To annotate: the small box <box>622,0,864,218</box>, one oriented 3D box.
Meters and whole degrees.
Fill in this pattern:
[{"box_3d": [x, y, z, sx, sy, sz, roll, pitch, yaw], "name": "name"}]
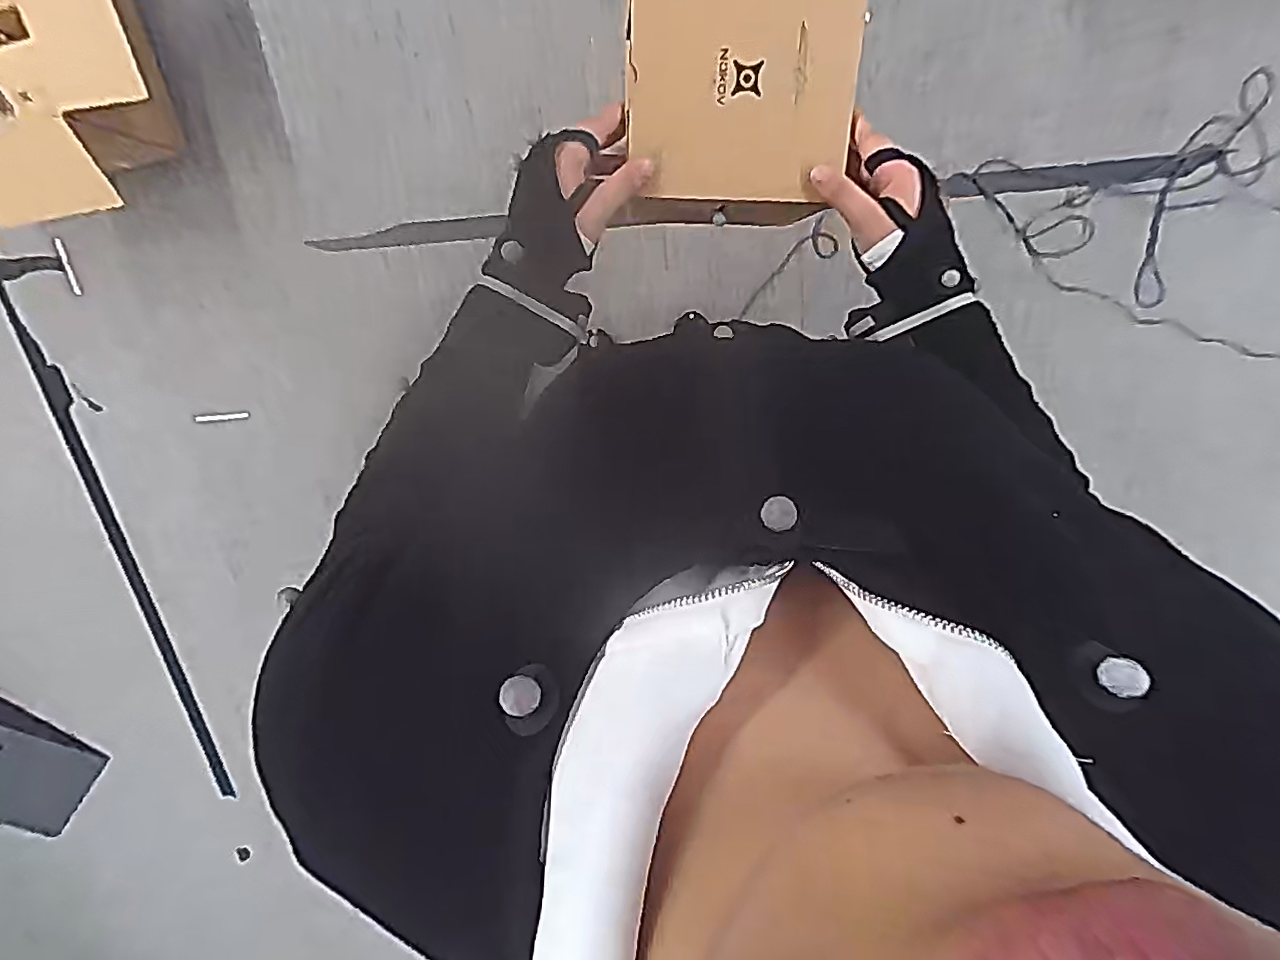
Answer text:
[{"box_3d": [0.074, -0.333, 0.480, 0.179, 0.176, 0.168, 0, 110, -1], "name": "small box"}]
